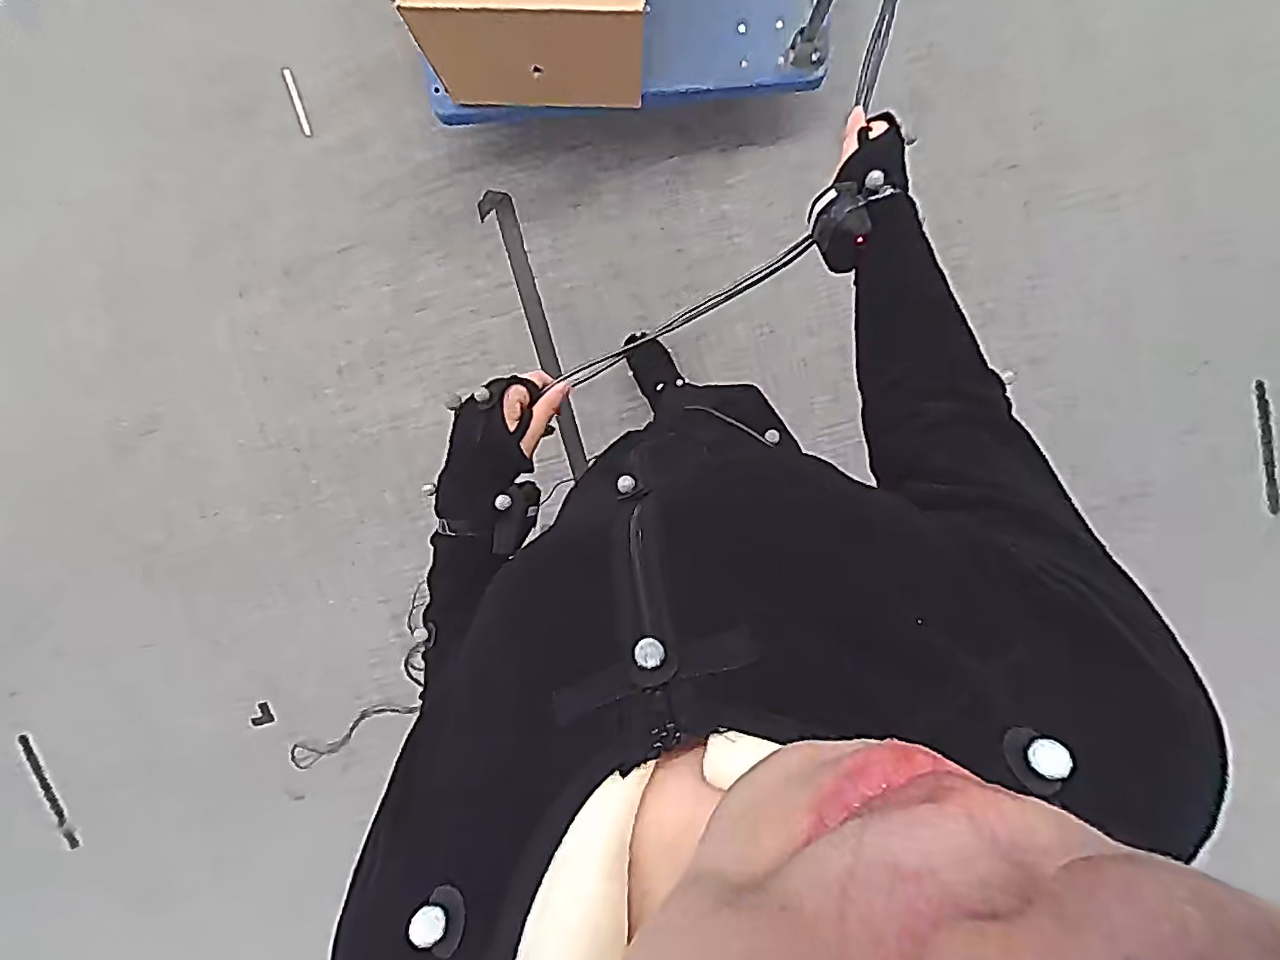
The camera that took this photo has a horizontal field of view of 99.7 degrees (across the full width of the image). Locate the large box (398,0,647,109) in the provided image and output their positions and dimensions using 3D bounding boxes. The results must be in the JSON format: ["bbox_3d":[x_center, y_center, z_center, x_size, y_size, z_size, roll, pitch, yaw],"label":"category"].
[{"bbox_3d":[-0.191,-0.924,0.994,0.408,0.320,0.320,0,99,0],"label":"large box"}]
